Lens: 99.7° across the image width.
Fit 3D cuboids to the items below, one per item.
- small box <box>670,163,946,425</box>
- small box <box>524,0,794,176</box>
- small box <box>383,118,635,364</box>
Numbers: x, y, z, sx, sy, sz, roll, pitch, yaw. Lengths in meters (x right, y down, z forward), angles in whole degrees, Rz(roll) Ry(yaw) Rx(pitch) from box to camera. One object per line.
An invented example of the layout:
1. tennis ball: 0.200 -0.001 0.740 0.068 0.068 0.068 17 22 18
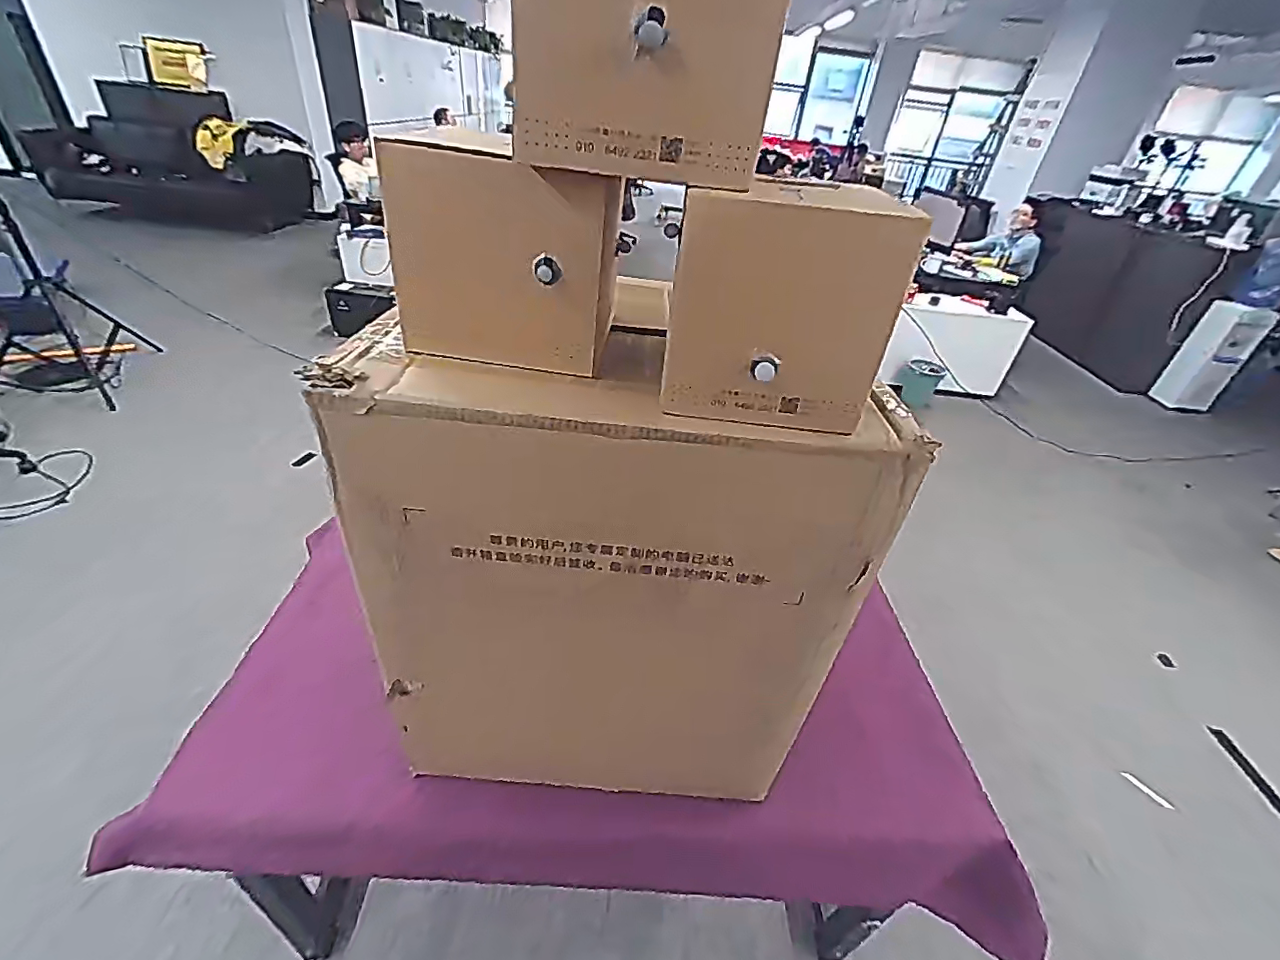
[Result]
1. small box: 0.117 -0.167 0.466 0.168 0.176 0.179 6 36 0
2. small box: 0.009 -0.326 0.388 0.168 0.176 0.179 4 35 -6
3. small box: -0.105 -0.220 0.500 0.179 0.176 0.168 7 35 -1
